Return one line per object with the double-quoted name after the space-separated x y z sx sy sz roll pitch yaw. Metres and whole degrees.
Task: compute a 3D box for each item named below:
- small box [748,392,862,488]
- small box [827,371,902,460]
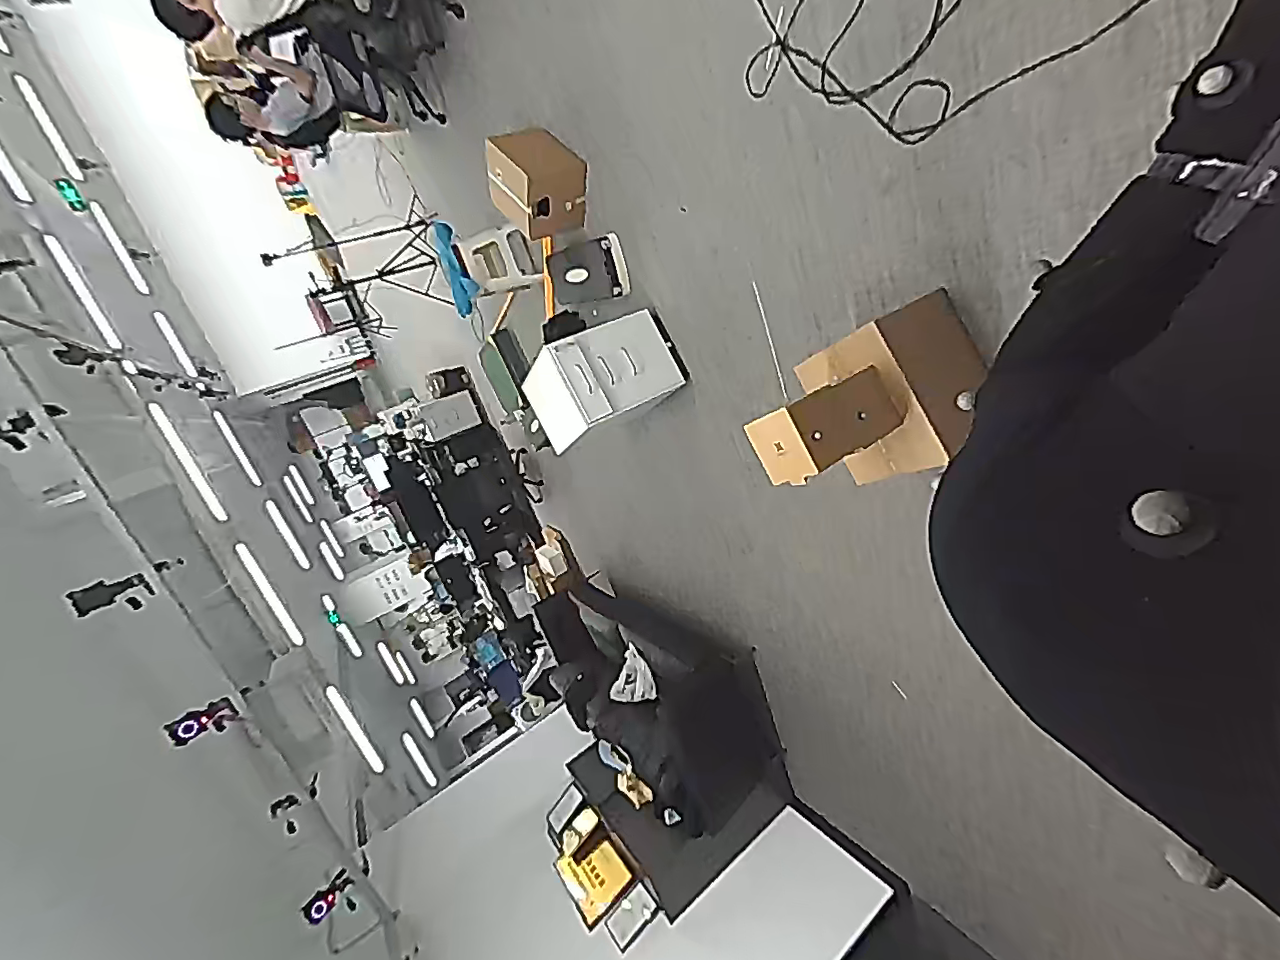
0.411 -0.103 1.347 0.179 0.176 0.168 62 153 -1 "small box"
0.546 -0.159 1.420 0.179 0.176 0.168 63 153 0 "small box"
